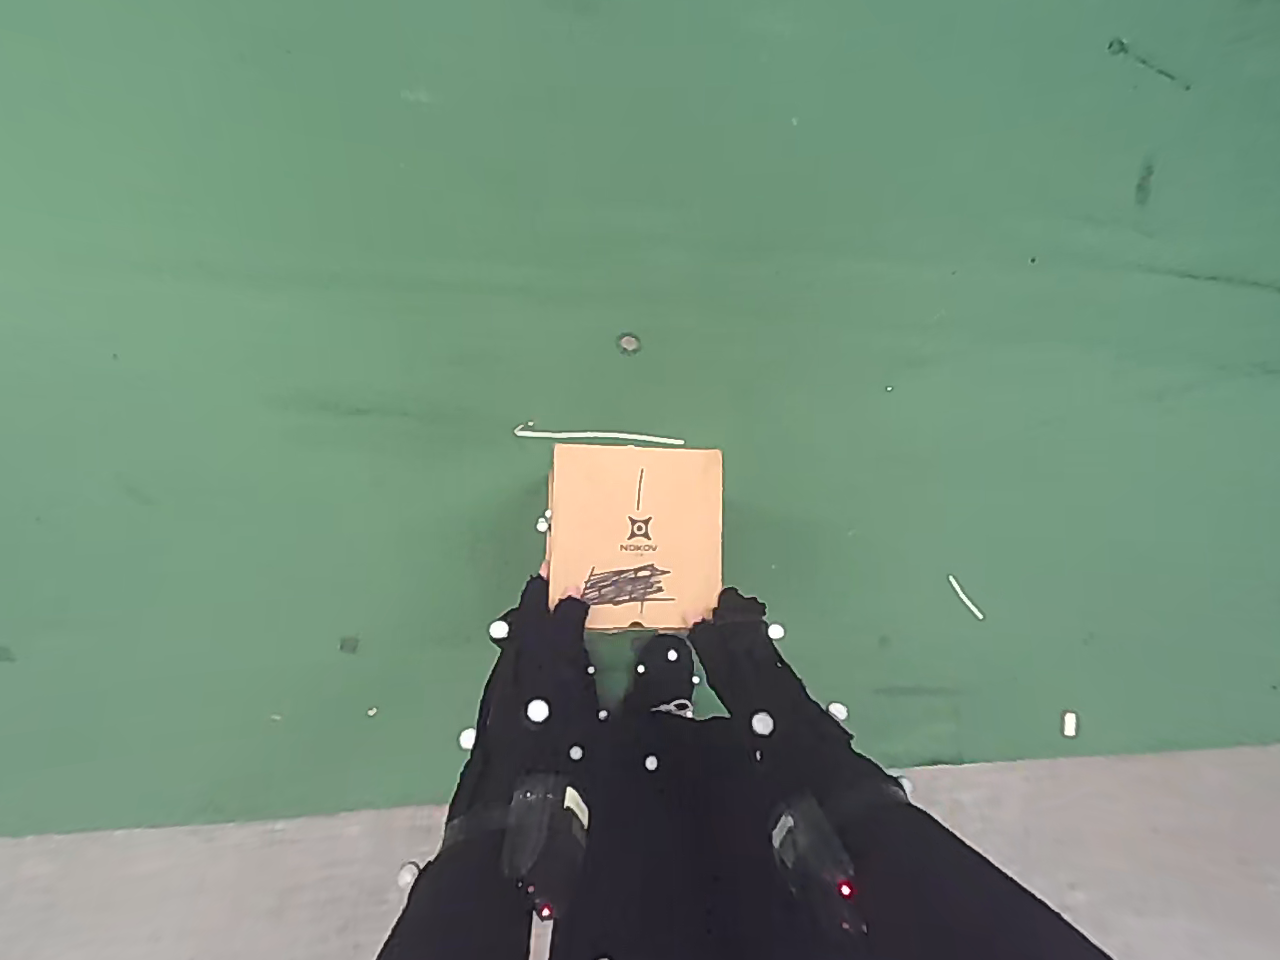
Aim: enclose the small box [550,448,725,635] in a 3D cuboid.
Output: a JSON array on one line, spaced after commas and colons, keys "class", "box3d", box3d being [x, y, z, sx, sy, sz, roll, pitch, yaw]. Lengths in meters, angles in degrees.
[{"class": "small box", "box3d": [-0.010, 0.065, 0.593, 0.168, 0.176, 0.179, 2, 84, -8]}]
